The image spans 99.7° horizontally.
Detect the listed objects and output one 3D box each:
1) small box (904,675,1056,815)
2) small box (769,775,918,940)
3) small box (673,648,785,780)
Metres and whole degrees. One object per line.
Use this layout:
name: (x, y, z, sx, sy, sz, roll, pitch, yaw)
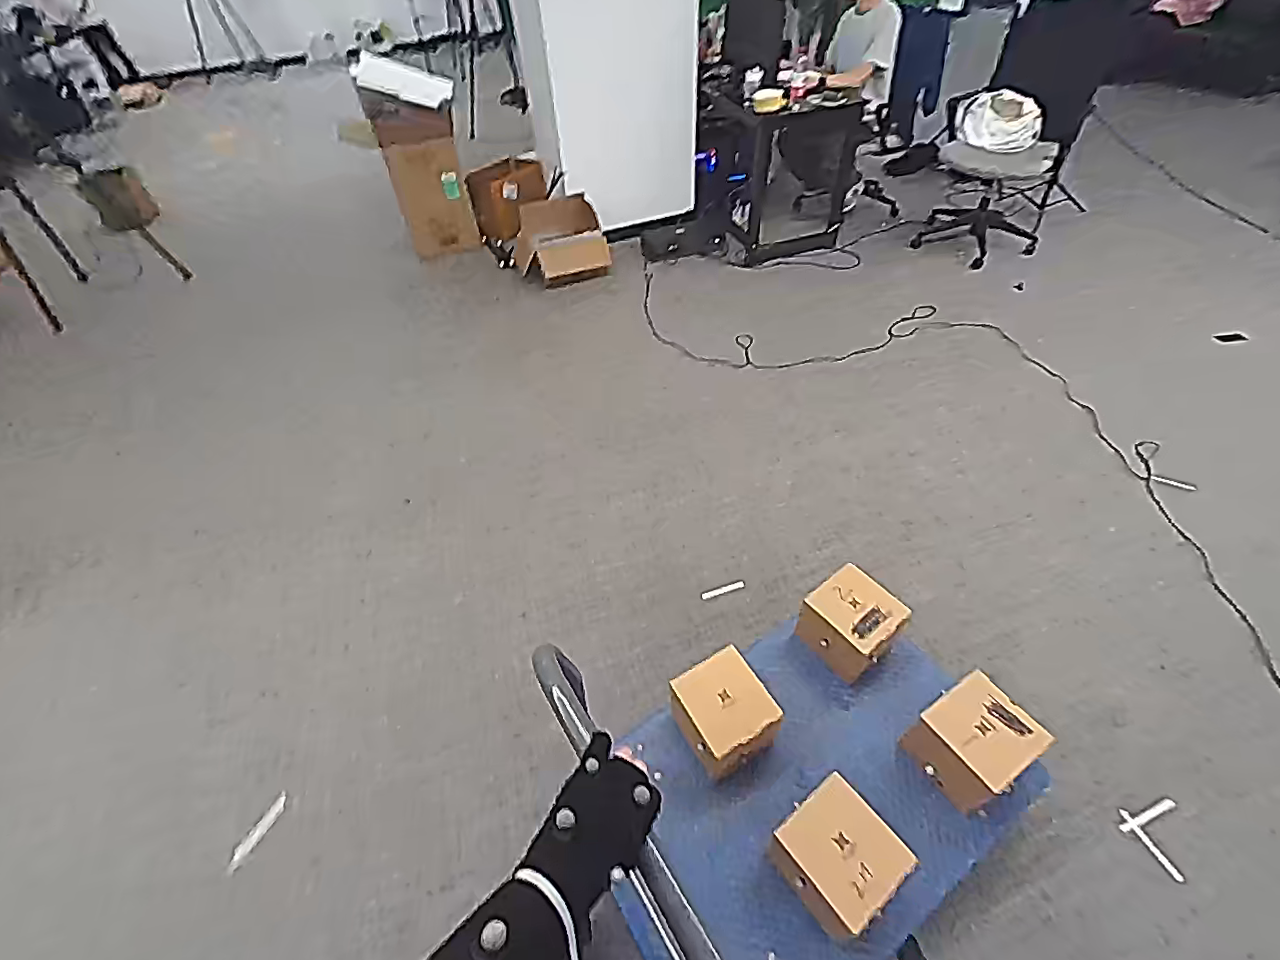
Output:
small box: (0.670, 0.534, 1.089, 0.179, 0.176, 0.168, -27, 50, -18)
small box: (0.354, 0.683, 0.976, 0.168, 0.176, 0.179, -30, 52, -21)
small box: (0.181, 0.503, 1.160, 0.168, 0.176, 0.179, -24, 52, -18)
